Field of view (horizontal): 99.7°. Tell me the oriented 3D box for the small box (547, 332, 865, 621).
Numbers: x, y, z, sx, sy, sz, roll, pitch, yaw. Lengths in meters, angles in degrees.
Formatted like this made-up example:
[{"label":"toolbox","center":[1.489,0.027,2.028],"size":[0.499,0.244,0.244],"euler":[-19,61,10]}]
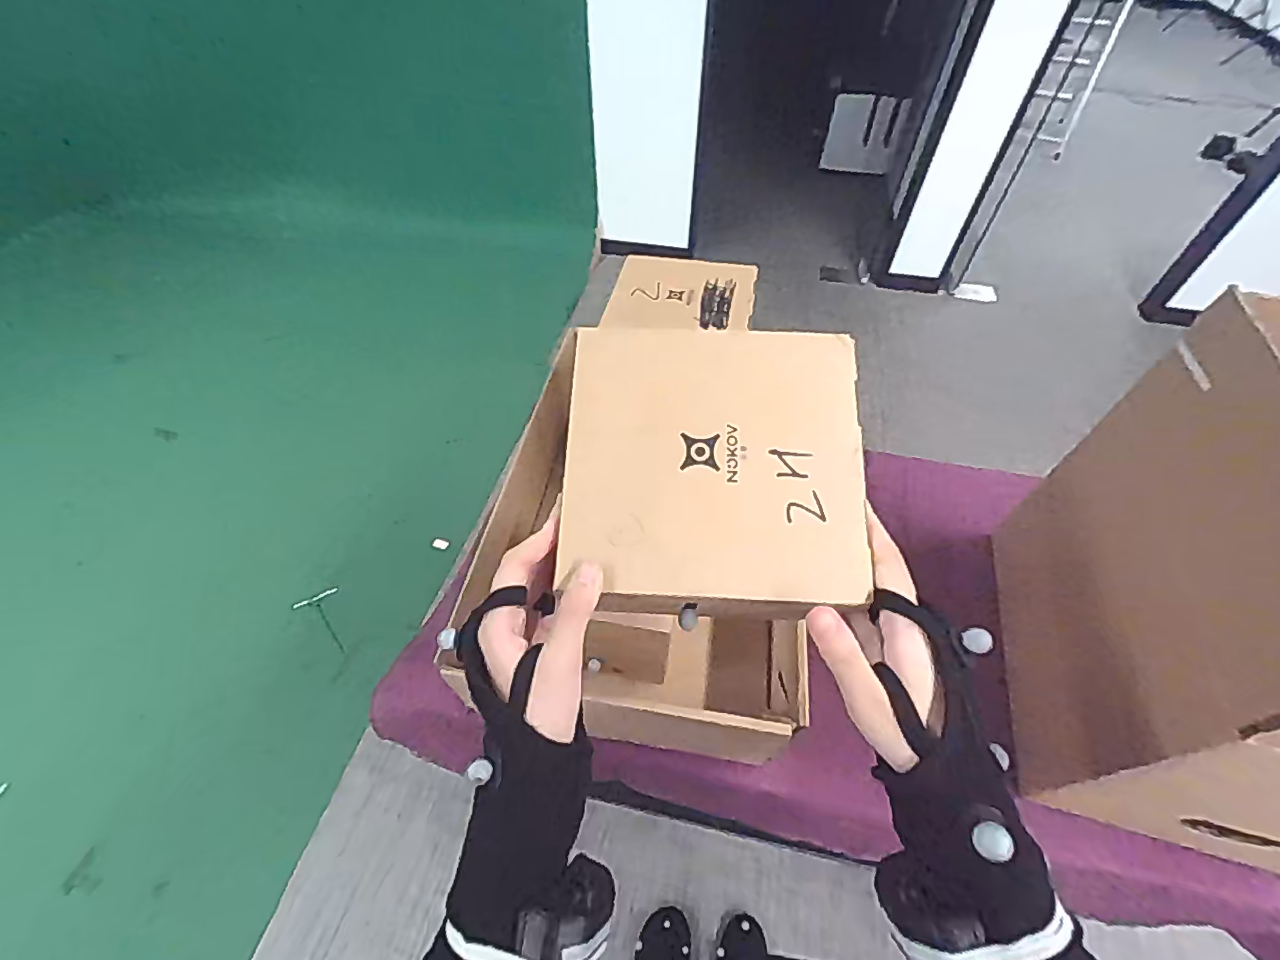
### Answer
[{"label":"small box","center":[0.043,0.011,0.391],"size":[0.179,0.176,0.168],"euler":[3,75,2]}]
